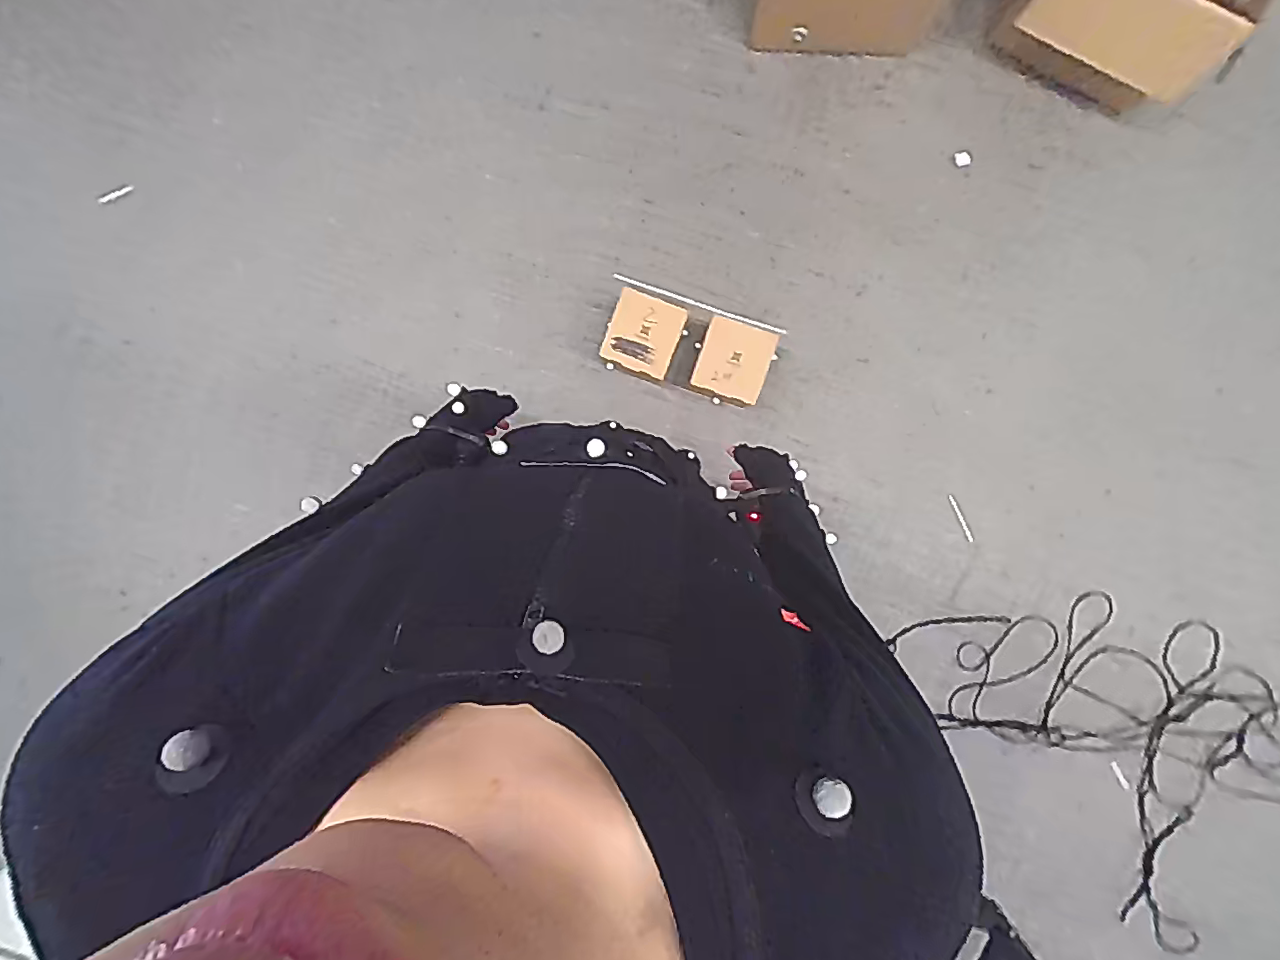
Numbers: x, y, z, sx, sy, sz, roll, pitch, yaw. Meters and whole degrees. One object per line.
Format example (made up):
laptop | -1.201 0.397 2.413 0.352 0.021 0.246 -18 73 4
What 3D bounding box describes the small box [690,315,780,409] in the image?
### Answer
small box | 0.227 -0.287 1.351 0.168 0.176 0.179 19 96 0
